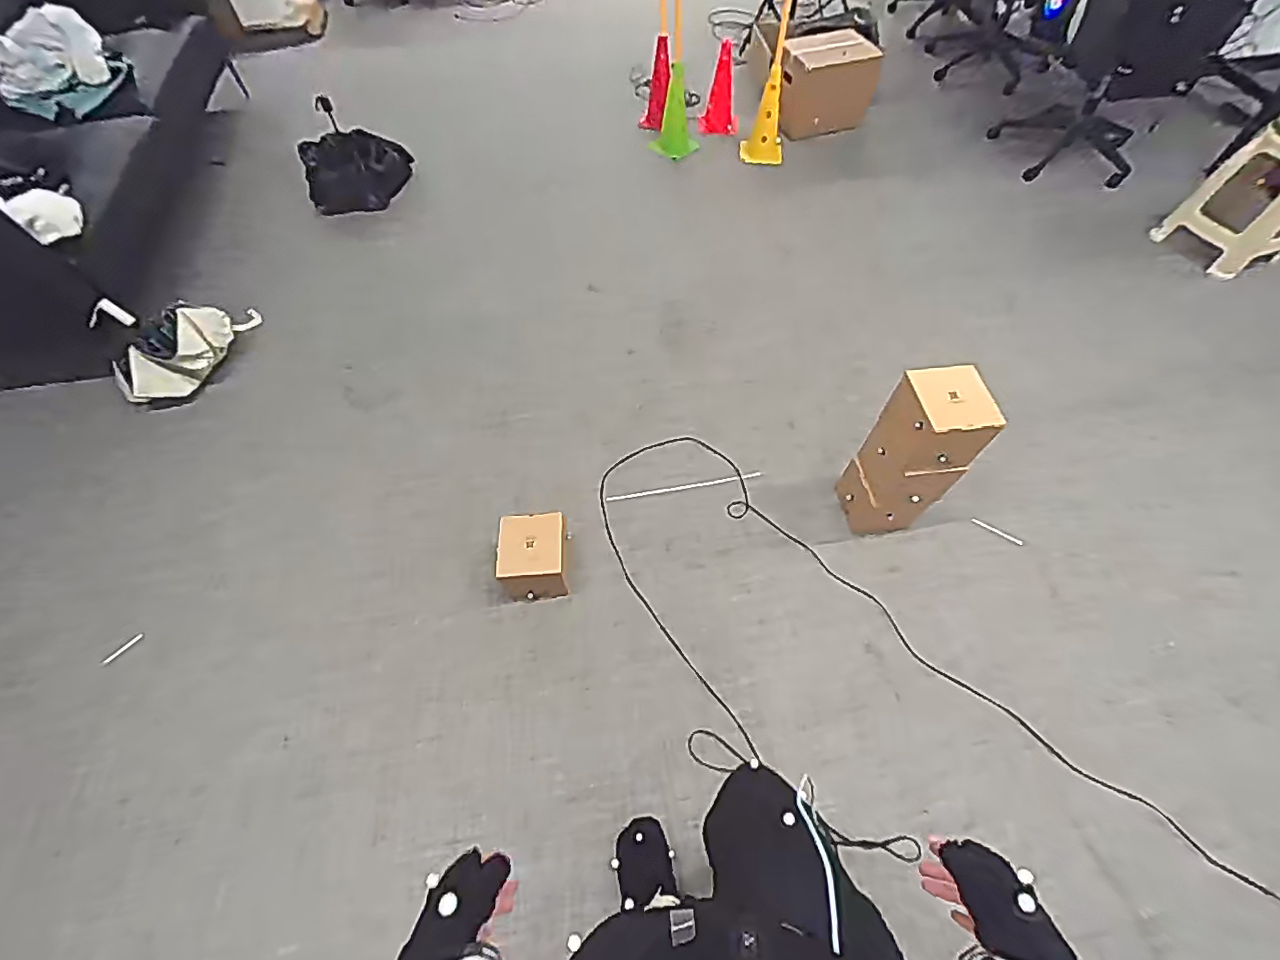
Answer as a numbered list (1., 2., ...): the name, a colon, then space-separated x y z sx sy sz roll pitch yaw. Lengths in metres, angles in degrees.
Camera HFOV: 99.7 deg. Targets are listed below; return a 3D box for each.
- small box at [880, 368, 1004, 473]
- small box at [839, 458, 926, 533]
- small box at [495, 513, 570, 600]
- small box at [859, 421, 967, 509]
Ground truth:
1. small box: 0.693 -0.137 1.268 0.168 0.176 0.179 -6 60 -4
2. small box: 0.688 0.041 1.542 0.179 0.176 0.168 -7 59 -4
3. small box: -0.279 0.205 1.439 0.168 0.176 0.179 -4 59 -1
4. small box: 0.695 -0.045 1.402 0.168 0.176 0.179 -6 59 -4
